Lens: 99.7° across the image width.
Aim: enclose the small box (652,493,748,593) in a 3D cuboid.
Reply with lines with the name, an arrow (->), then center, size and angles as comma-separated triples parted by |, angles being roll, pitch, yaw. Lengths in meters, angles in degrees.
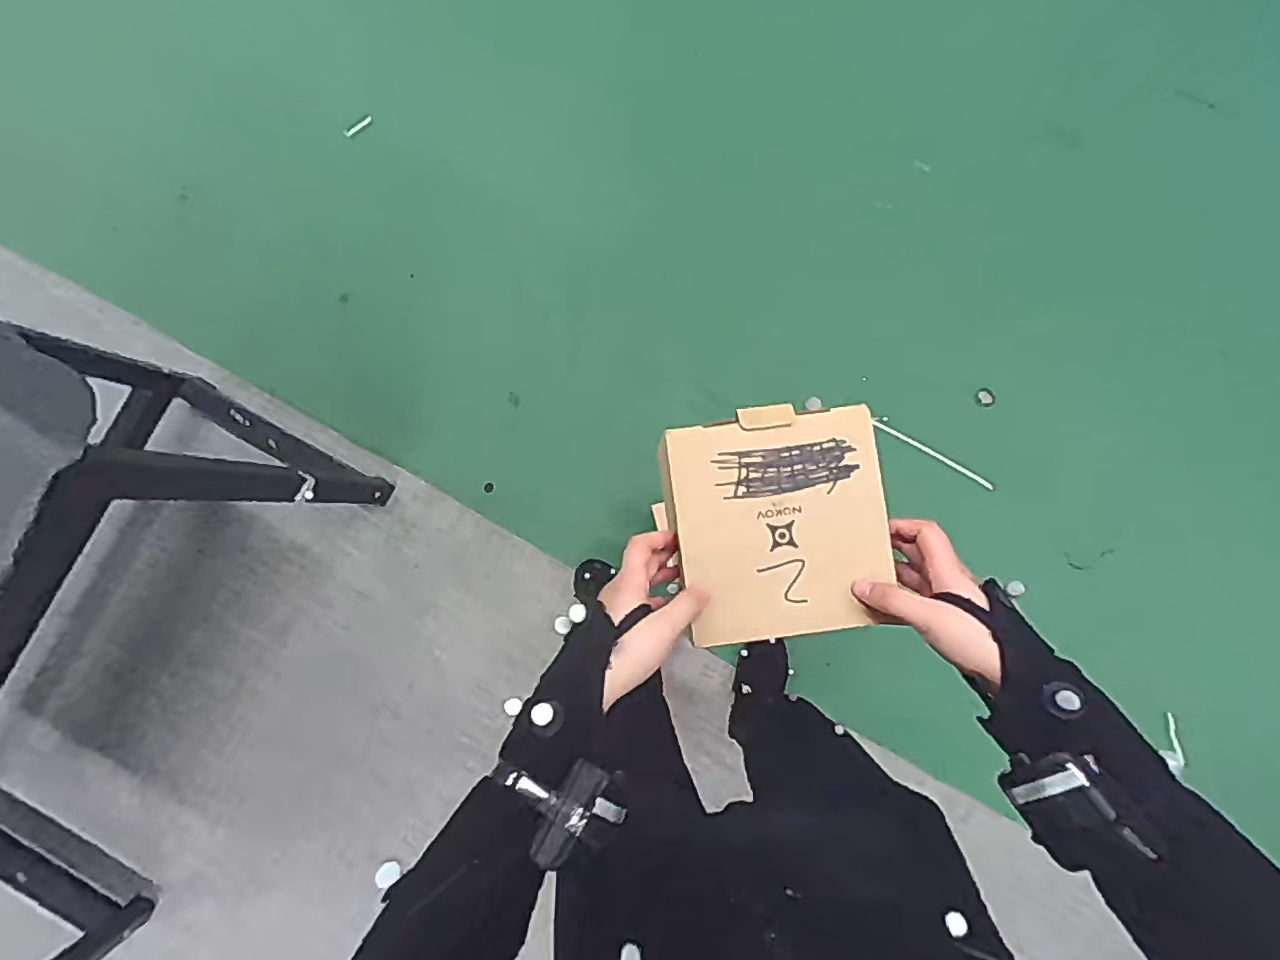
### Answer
small box -> 0.128, 0.131, 1.181 | 0.168, 0.176, 0.179 | -15, 86, 2
